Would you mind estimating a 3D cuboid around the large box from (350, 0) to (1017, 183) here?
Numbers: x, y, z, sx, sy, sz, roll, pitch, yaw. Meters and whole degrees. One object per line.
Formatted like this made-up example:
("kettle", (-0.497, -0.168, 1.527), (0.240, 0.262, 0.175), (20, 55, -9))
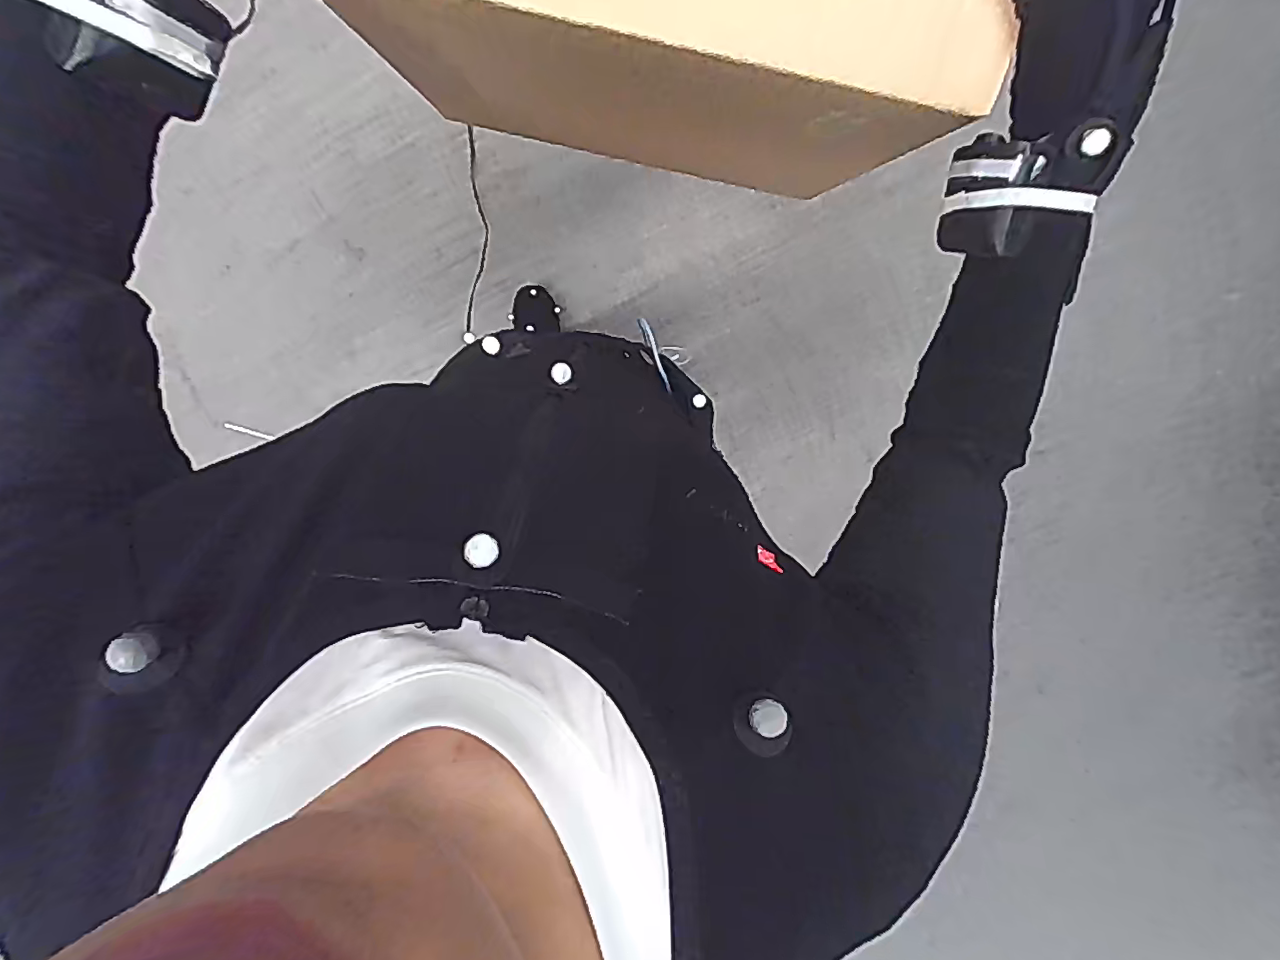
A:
("large box", (0.026, -0.445, 0.393), (0.408, 0.320, 0.320), (8, 110, -6))
